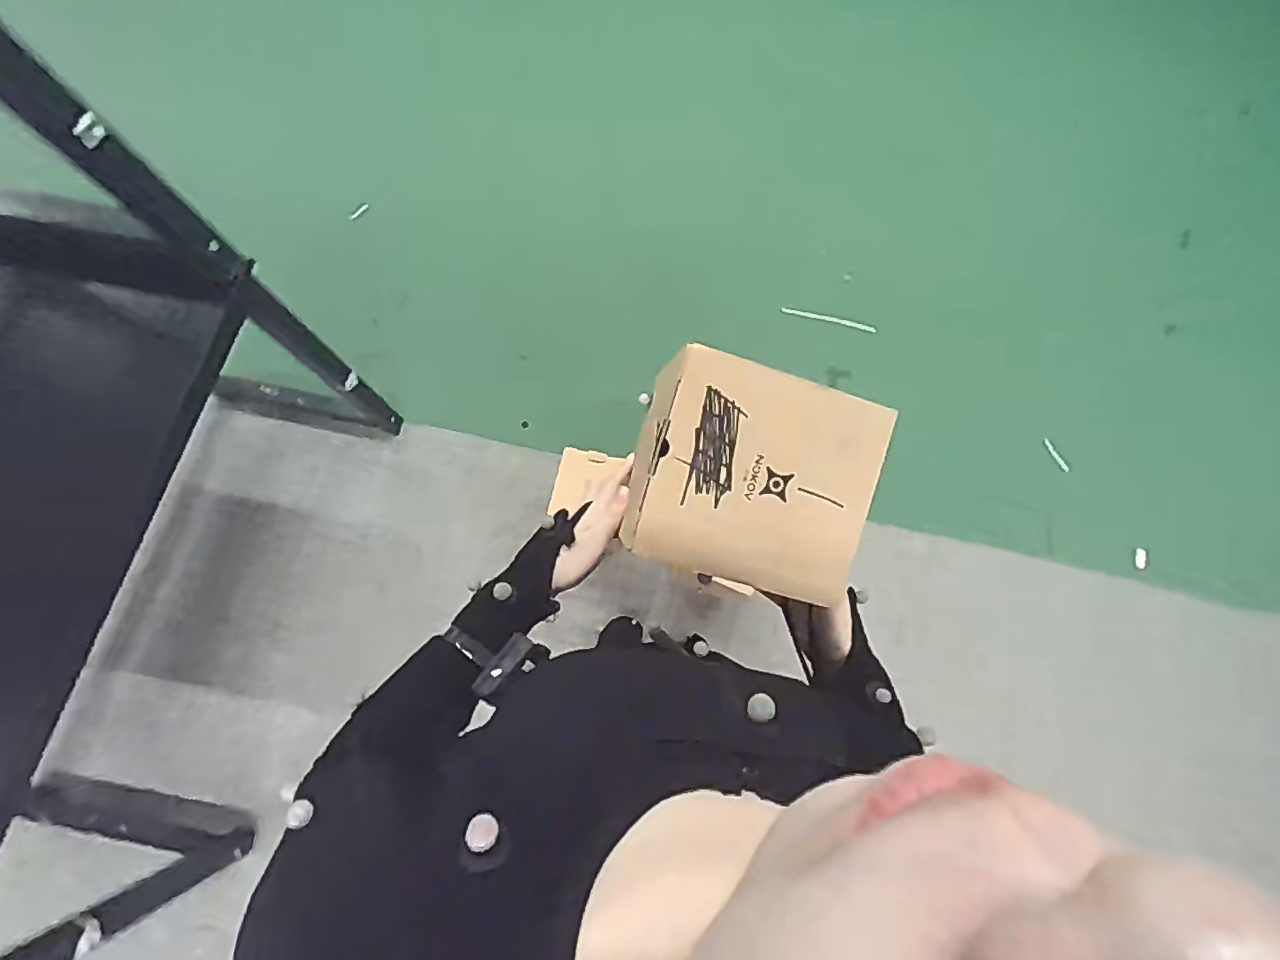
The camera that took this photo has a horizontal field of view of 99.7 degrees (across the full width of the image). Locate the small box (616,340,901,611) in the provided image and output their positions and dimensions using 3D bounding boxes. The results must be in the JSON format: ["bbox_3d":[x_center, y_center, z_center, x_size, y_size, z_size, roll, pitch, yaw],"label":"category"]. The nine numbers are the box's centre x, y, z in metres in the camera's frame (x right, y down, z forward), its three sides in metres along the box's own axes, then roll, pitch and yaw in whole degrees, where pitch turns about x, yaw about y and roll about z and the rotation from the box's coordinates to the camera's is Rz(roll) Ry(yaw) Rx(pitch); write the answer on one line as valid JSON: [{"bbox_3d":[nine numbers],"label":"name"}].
[{"bbox_3d":[0.084,-0.004,0.477,0.179,0.176,0.168,16,91,-8],"label":"small box"}]

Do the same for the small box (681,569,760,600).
[{"bbox_3d":[0.210,0.181,1.296,0.179,0.176,0.168,23,76,4],"label":"small box"}]

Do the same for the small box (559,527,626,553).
[{"bbox_3d":[-0.115,0.096,1.482,0.168,0.176,0.179,11,74,2],"label":"small box"}]

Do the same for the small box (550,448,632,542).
[{"bbox_3d":[-0.109,0.044,1.327,0.168,0.176,0.179,12,73,2],"label":"small box"}]
